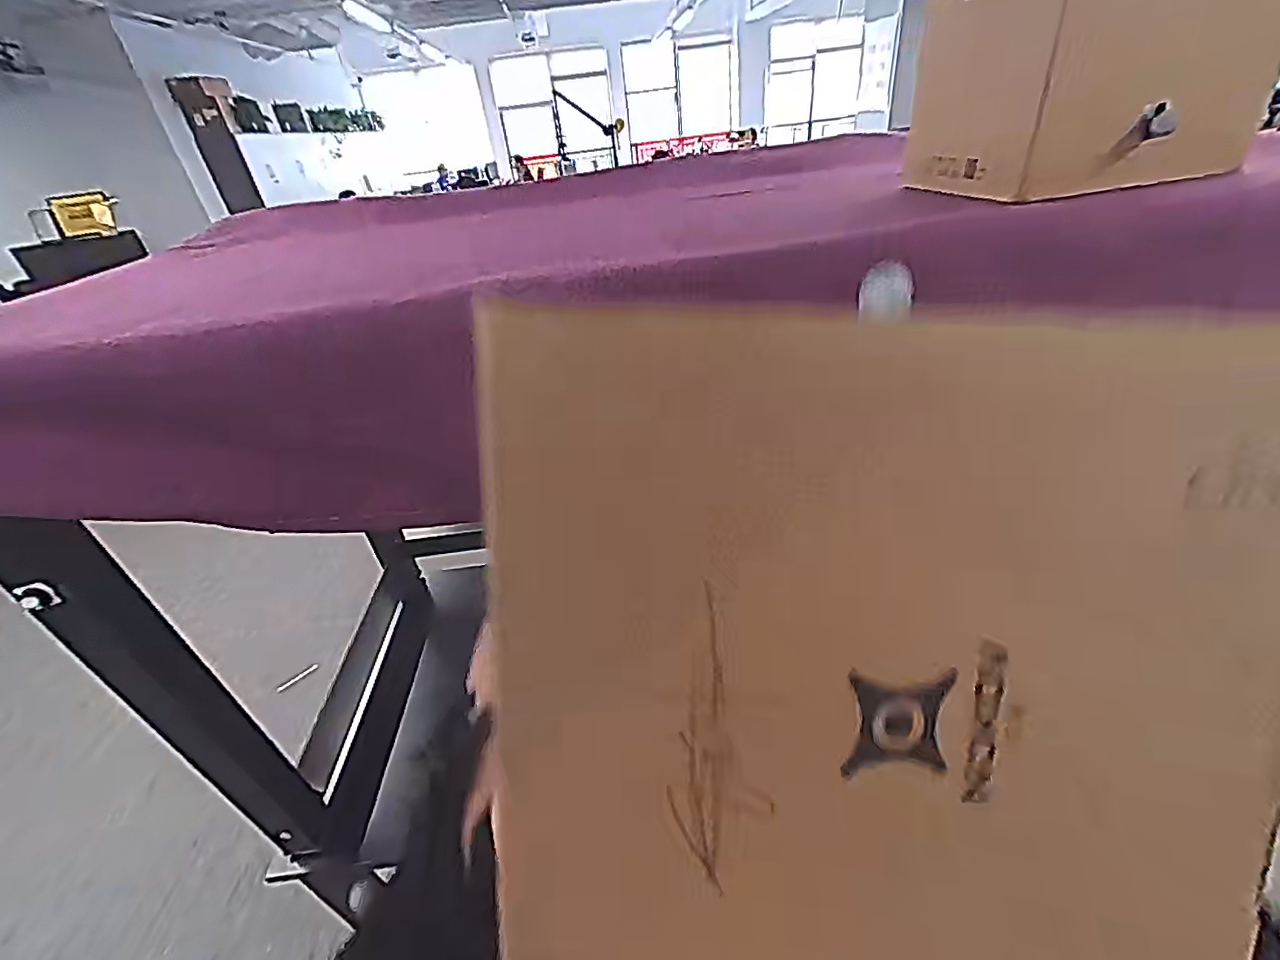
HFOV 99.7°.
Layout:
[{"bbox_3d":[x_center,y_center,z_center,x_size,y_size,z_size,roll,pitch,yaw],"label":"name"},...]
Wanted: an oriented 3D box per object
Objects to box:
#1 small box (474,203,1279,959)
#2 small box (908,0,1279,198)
[{"bbox_3d":[0.054,0.022,0.184,0.179,0.168,0.176,1,10,-2],"label":"small box"},{"bbox_3d":[0.340,-0.329,0.418,0.179,0.176,0.168,-9,32,-2],"label":"small box"}]
